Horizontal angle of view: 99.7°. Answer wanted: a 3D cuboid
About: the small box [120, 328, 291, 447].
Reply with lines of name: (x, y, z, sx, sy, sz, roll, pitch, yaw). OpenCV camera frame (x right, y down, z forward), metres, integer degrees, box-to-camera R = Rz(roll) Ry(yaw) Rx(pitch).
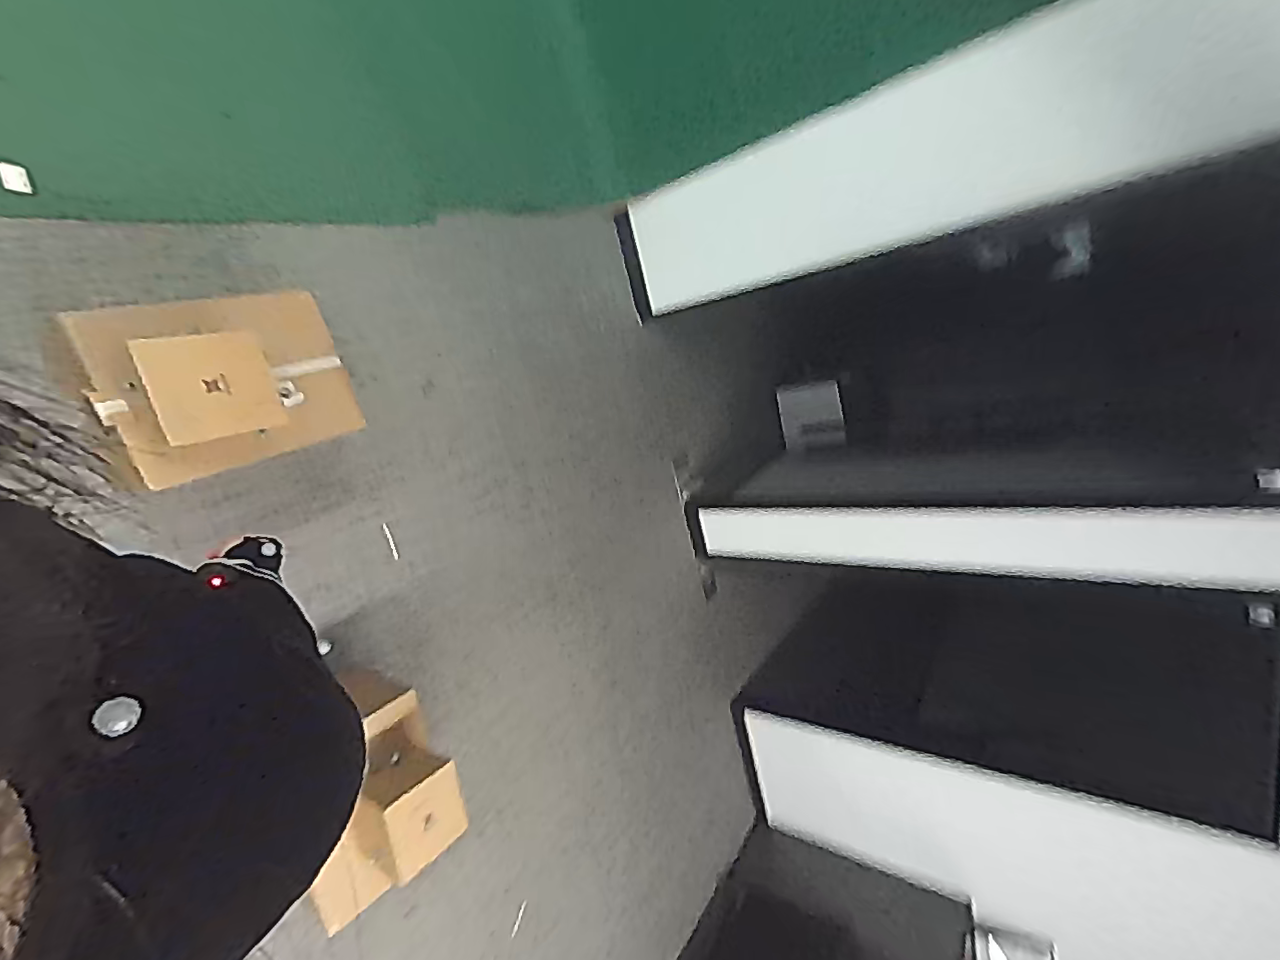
small box: (-0.749, -0.157, 0.929, 0.179, 0.176, 0.168, -28, 111, -50)

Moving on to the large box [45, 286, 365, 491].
large box: (-0.894, -0.194, 1.142, 0.408, 0.320, 0.320, -32, 113, -48)

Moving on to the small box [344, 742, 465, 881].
small box: (-0.516, 0.712, 1.186, 0.168, 0.176, 0.179, -19, 103, -53)
